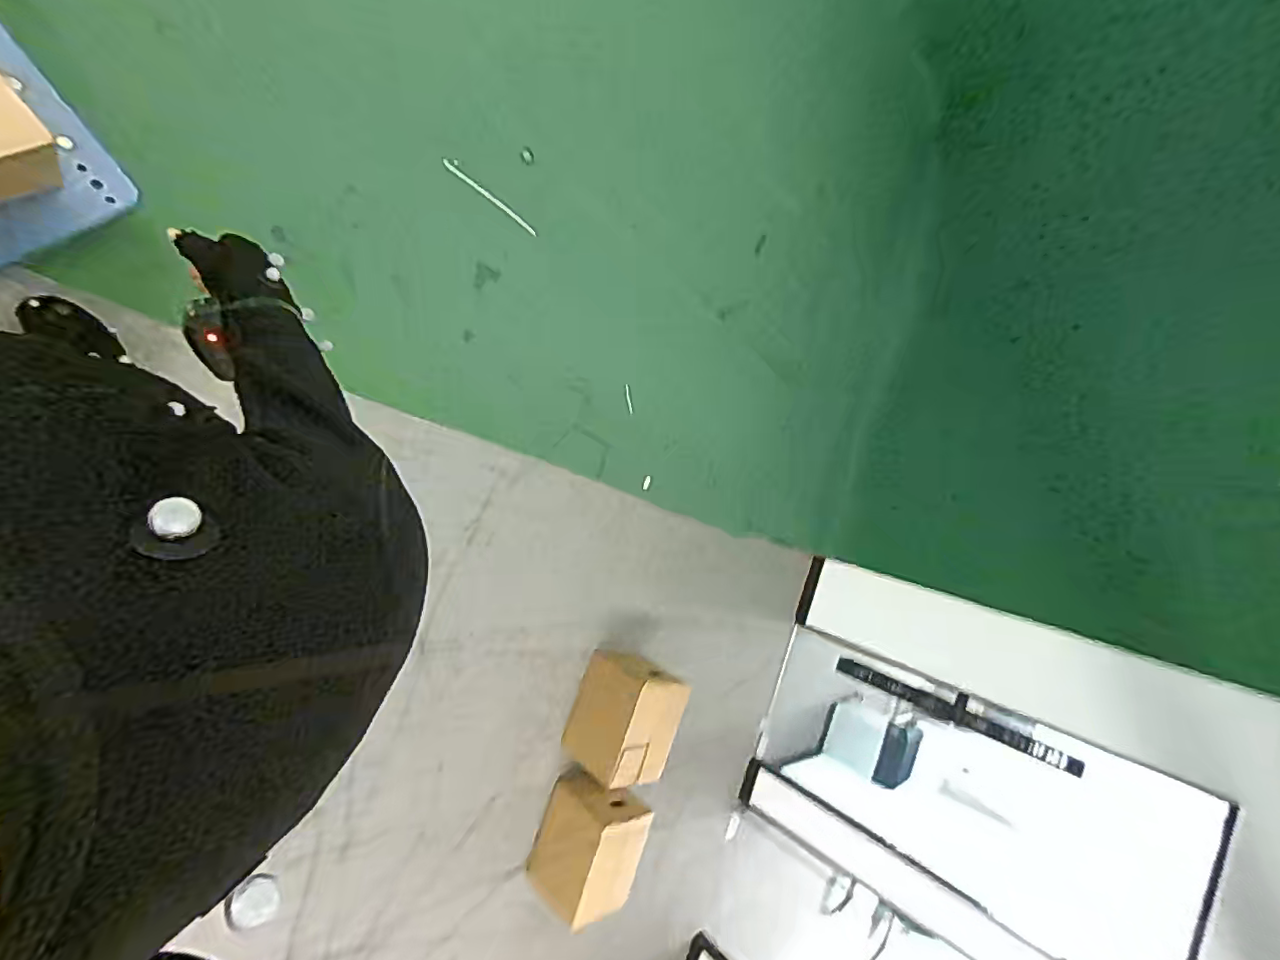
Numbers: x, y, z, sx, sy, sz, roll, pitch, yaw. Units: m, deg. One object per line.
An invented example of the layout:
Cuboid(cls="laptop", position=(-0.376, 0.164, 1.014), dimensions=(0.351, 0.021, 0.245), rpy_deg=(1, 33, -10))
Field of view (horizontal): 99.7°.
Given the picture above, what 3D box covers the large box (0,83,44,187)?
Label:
Cuboid(cls="large box", position=(-0.979, -0.430, 0.555), dimensions=(0.408, 0.320, 0.320), rpy_deg=(-44, 130, -28))
